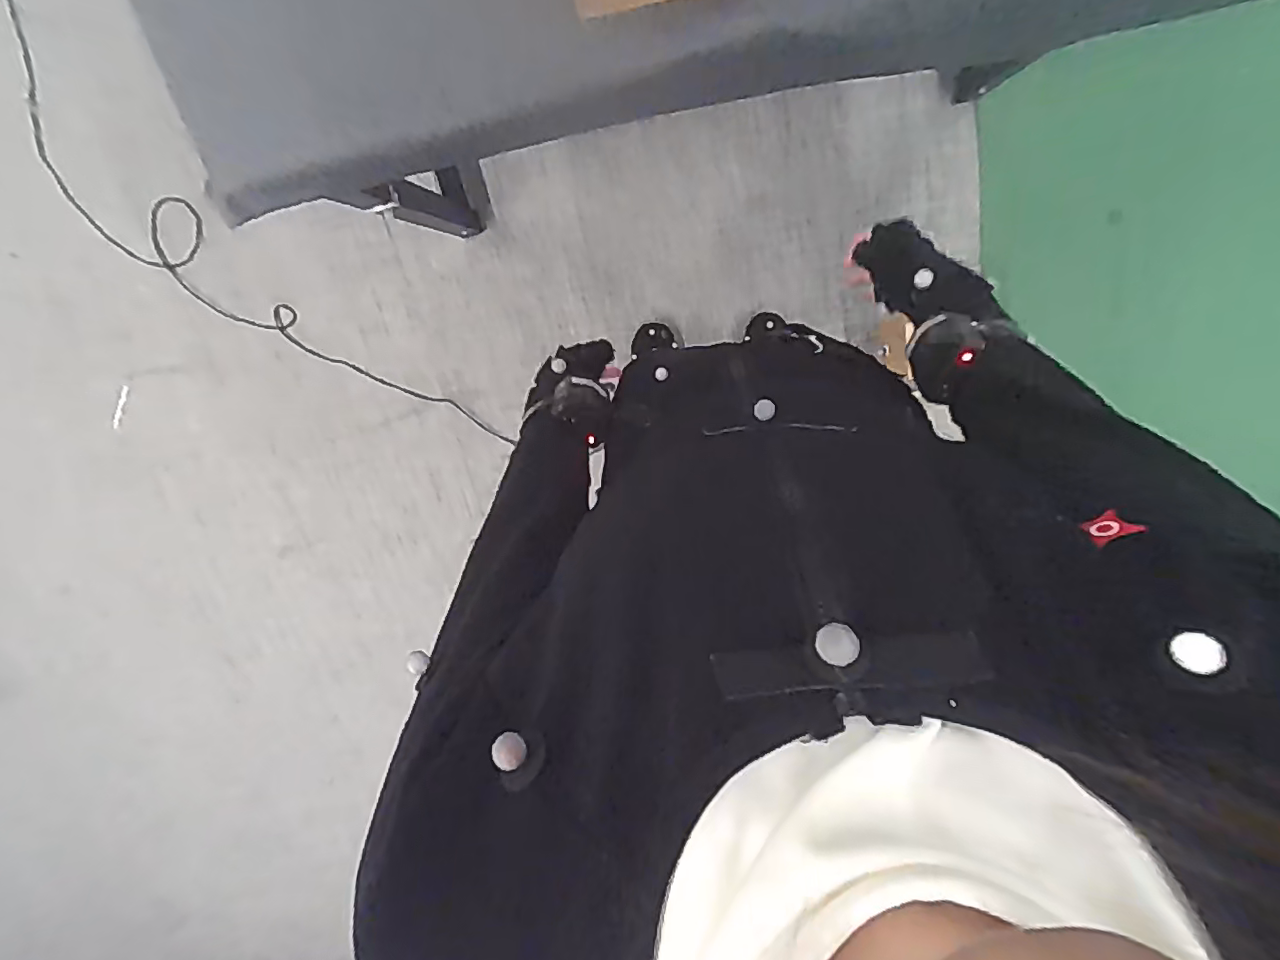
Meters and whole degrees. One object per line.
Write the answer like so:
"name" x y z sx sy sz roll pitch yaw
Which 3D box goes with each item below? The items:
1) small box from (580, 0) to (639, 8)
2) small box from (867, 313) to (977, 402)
"small box" 0.008 -0.525 0.431 0.179 0.176 0.168 -8 107 5
"small box" 0.649 -0.289 1.255 0.179 0.176 0.168 -10 107 7
